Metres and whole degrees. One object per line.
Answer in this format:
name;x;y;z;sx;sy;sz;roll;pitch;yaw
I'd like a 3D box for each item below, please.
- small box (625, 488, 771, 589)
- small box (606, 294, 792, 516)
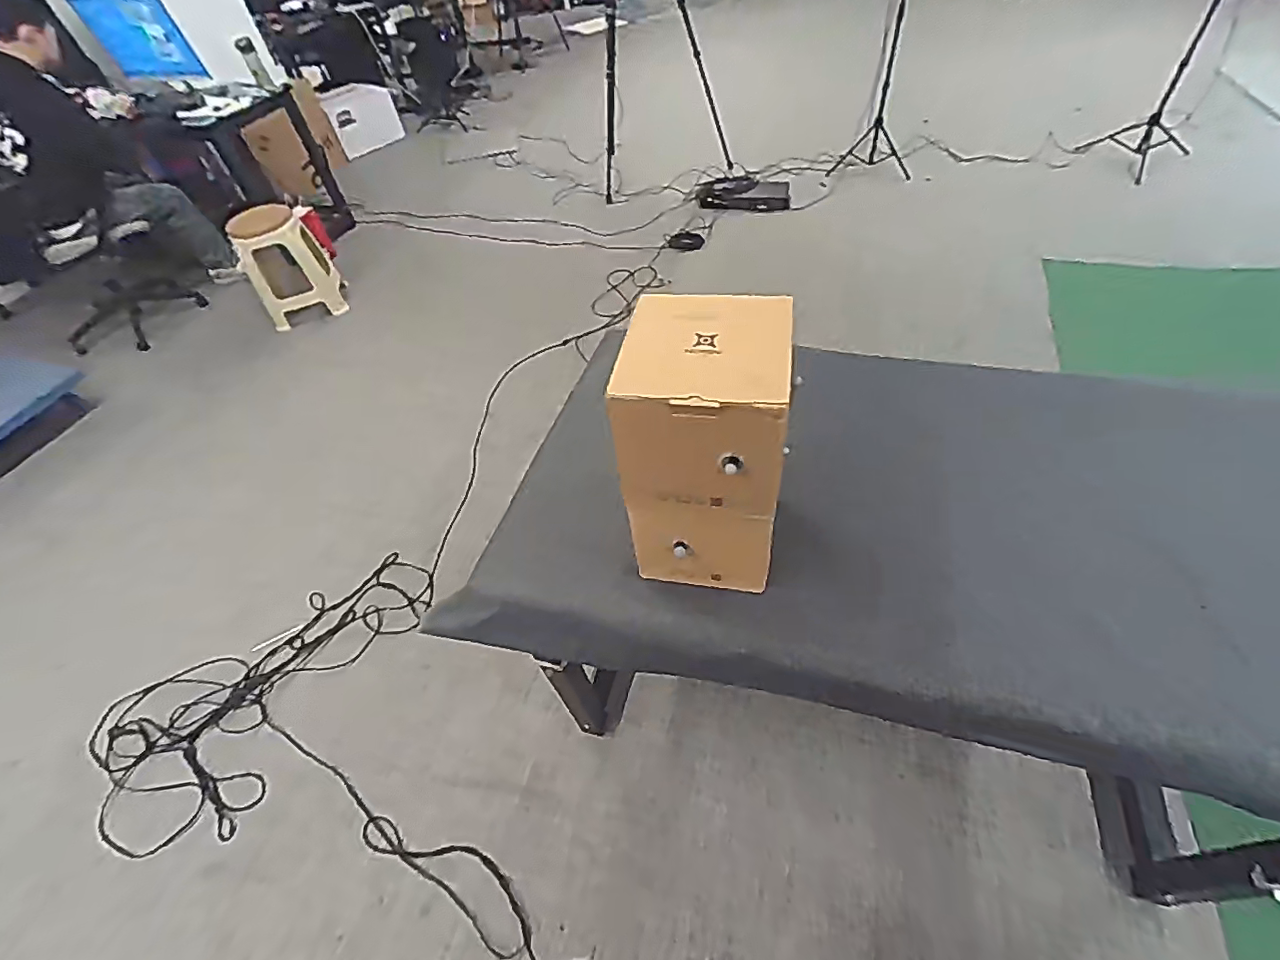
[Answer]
small box;0.087;0.024;0.711;0.168;0.176;0.179;6;50;12
small box;0.070;-0.081;0.588;0.168;0.176;0.179;6;49;10
